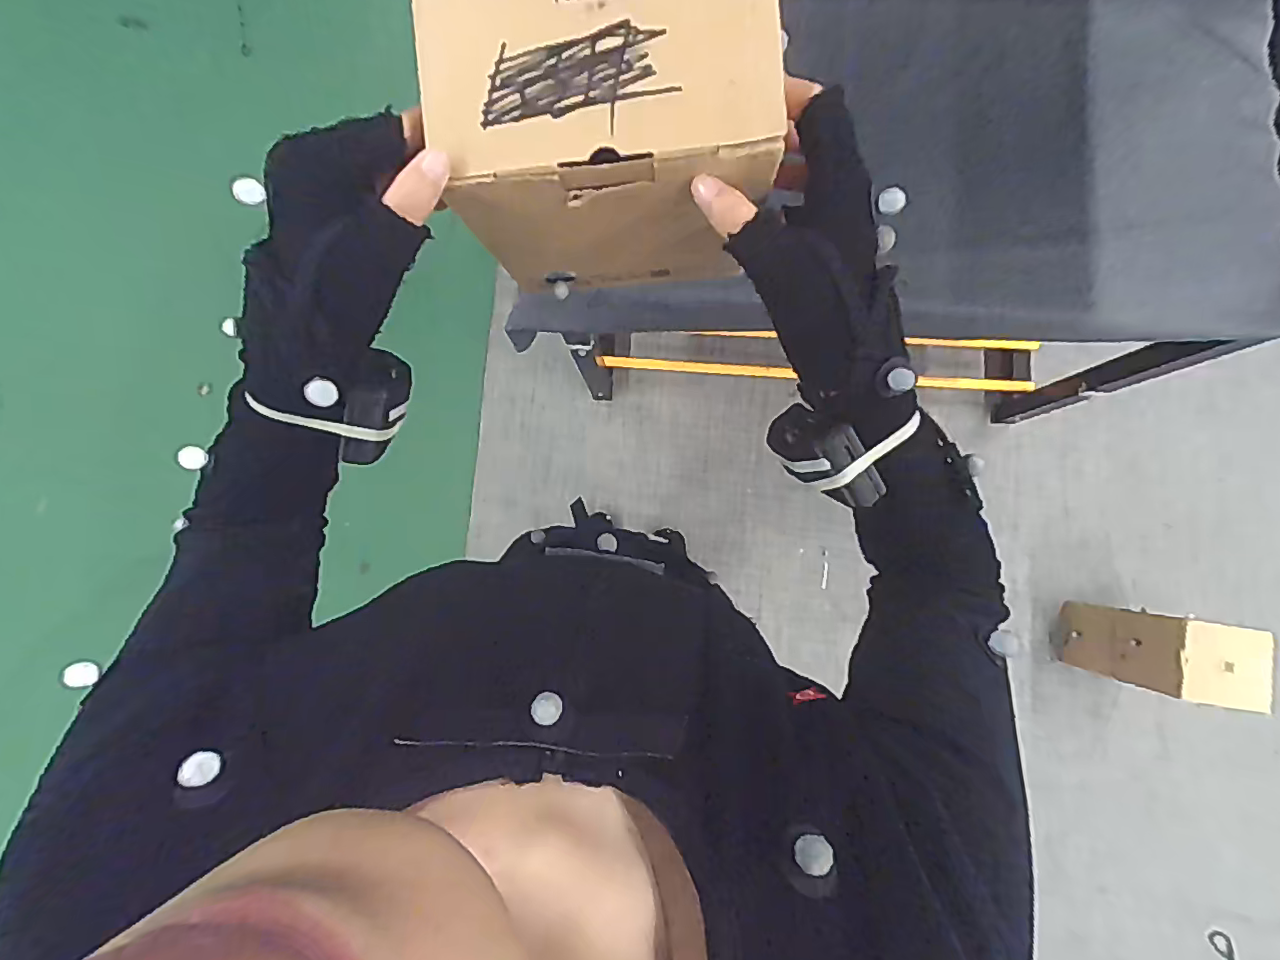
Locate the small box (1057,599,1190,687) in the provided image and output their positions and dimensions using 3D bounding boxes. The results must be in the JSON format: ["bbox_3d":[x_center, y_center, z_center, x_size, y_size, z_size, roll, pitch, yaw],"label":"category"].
[{"bbox_3d":[1.198,0.398,1.348,0.179,0.176,0.168,10,84,3],"label":"small box"}]
